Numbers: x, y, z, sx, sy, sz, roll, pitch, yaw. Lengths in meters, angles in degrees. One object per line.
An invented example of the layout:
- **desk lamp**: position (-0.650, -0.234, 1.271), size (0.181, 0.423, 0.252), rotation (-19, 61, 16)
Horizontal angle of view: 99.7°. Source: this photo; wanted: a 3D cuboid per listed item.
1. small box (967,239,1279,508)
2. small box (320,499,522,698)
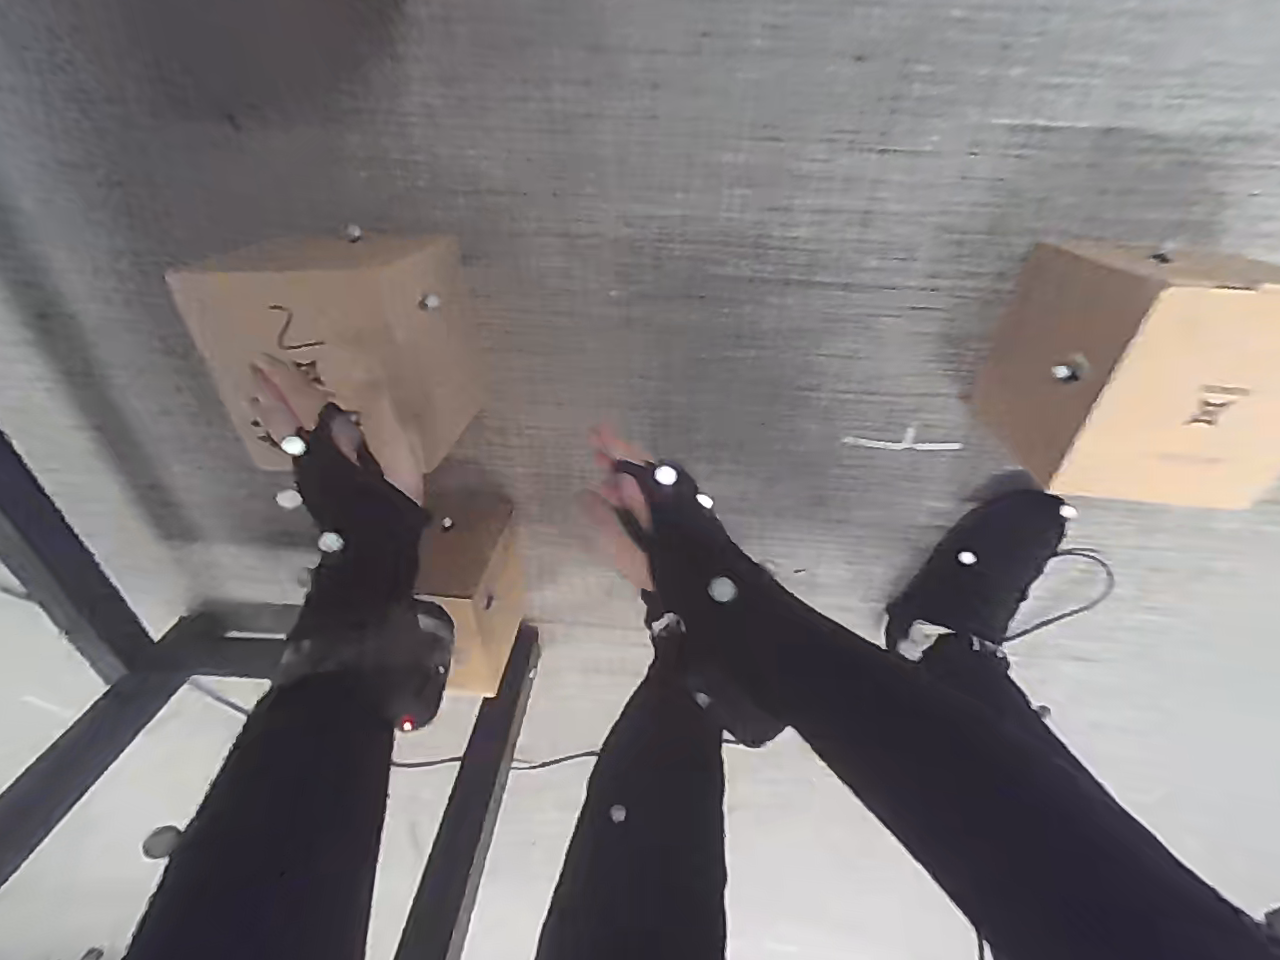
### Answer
- **small box**: position (0.421, -0.099, 0.465), size (0.168, 0.176, 0.179), rotation (5, 123, 2)
- **small box**: position (-0.255, 0.145, 0.683), size (0.168, 0.176, 0.179), rotation (2, 123, 4)
